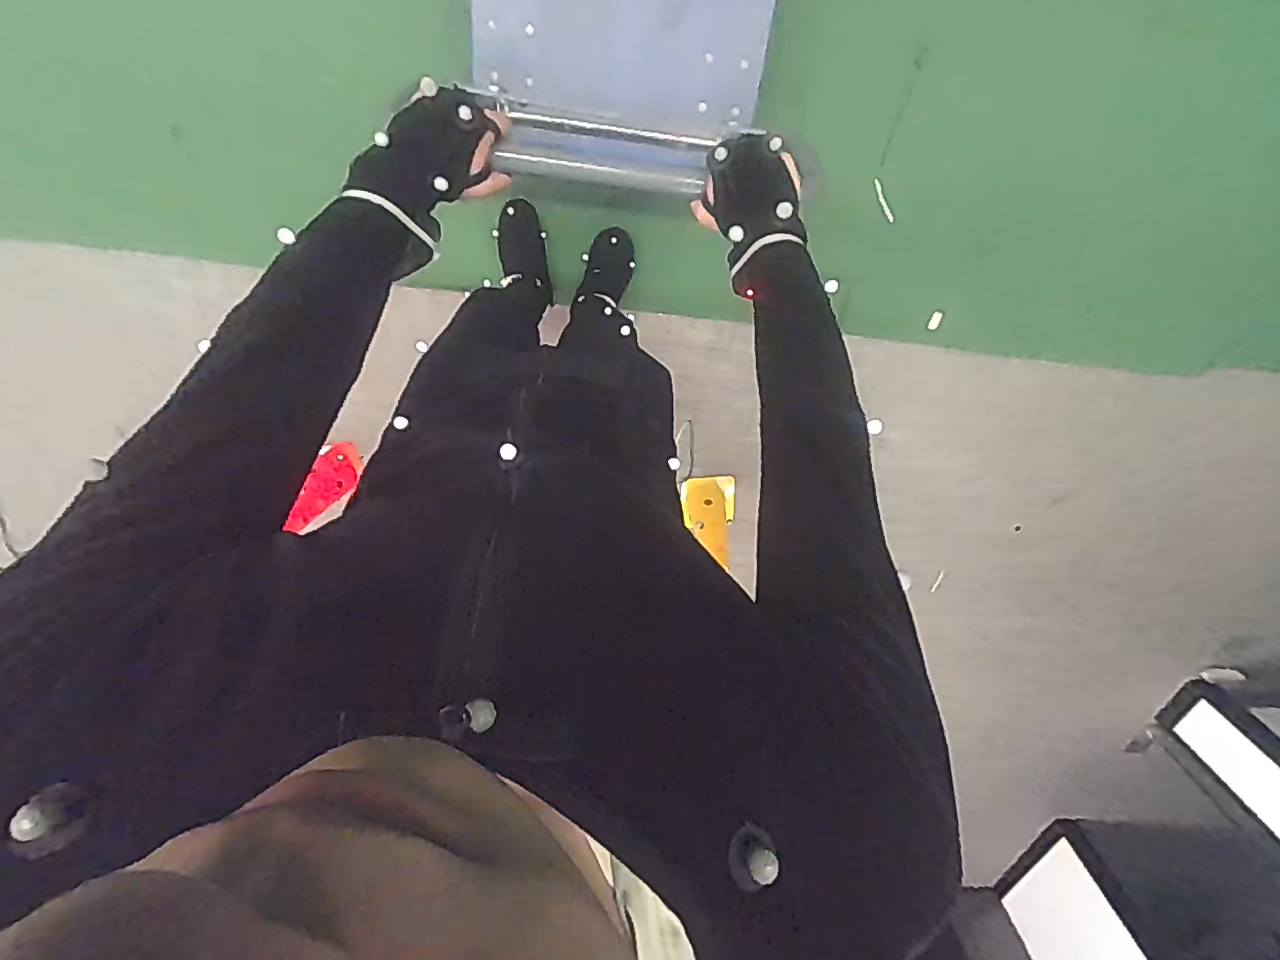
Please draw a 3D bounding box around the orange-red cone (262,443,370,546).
[{"bbox_3d":[-0.957,0.066,1.535,0.199,0.360,0.198,-7,121,2],"label":"orange-red cone"}]
